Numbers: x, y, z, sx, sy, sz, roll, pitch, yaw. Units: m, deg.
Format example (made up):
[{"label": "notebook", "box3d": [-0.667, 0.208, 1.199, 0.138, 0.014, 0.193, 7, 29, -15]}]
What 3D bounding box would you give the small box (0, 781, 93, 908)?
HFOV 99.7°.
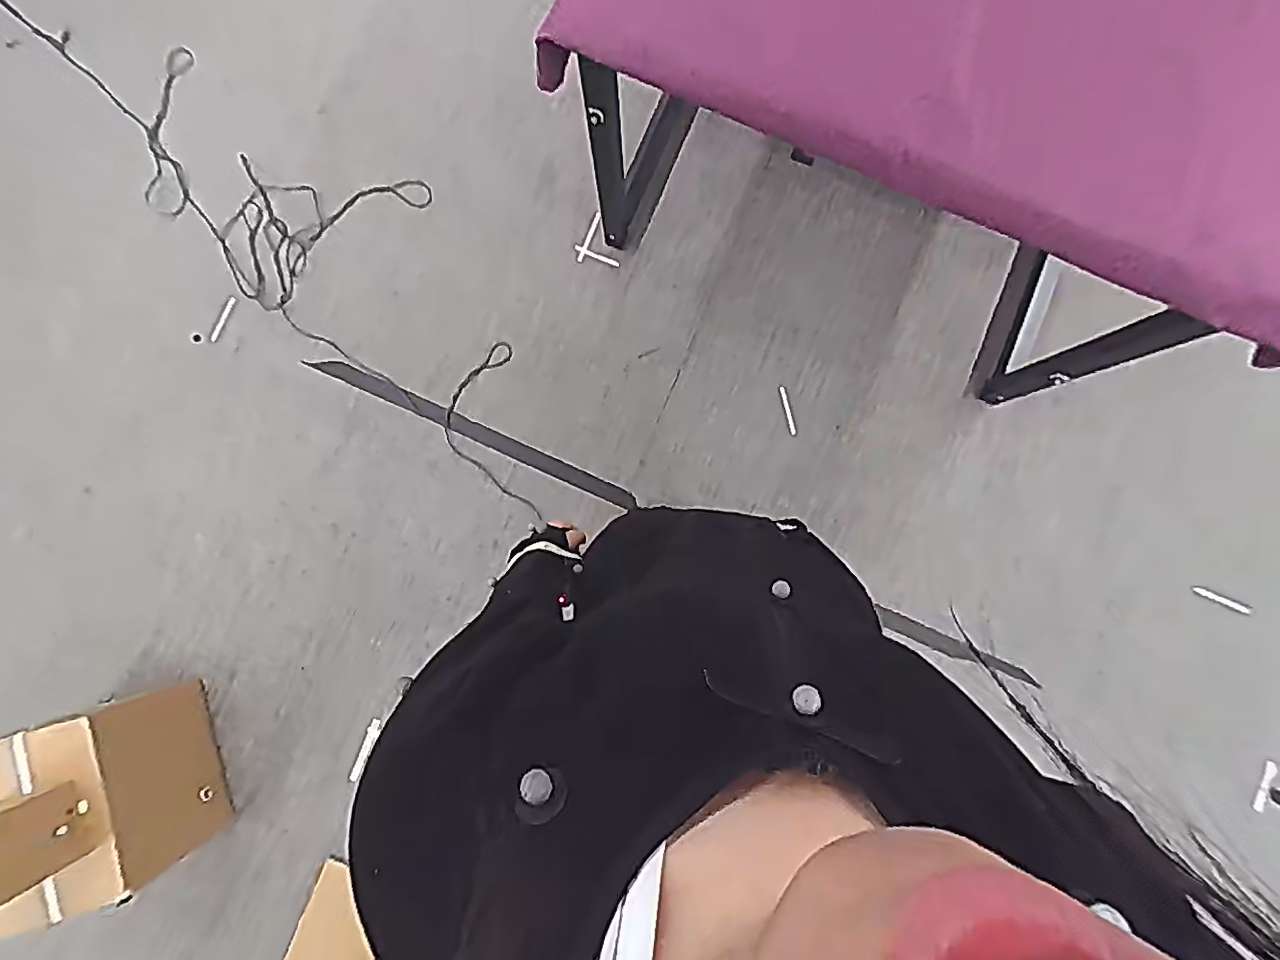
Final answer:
[{"label": "small box", "box3d": [-1.281, 0.746, 1.089, 0.179, 0.176, 0.168, -18, 86, -1]}]
